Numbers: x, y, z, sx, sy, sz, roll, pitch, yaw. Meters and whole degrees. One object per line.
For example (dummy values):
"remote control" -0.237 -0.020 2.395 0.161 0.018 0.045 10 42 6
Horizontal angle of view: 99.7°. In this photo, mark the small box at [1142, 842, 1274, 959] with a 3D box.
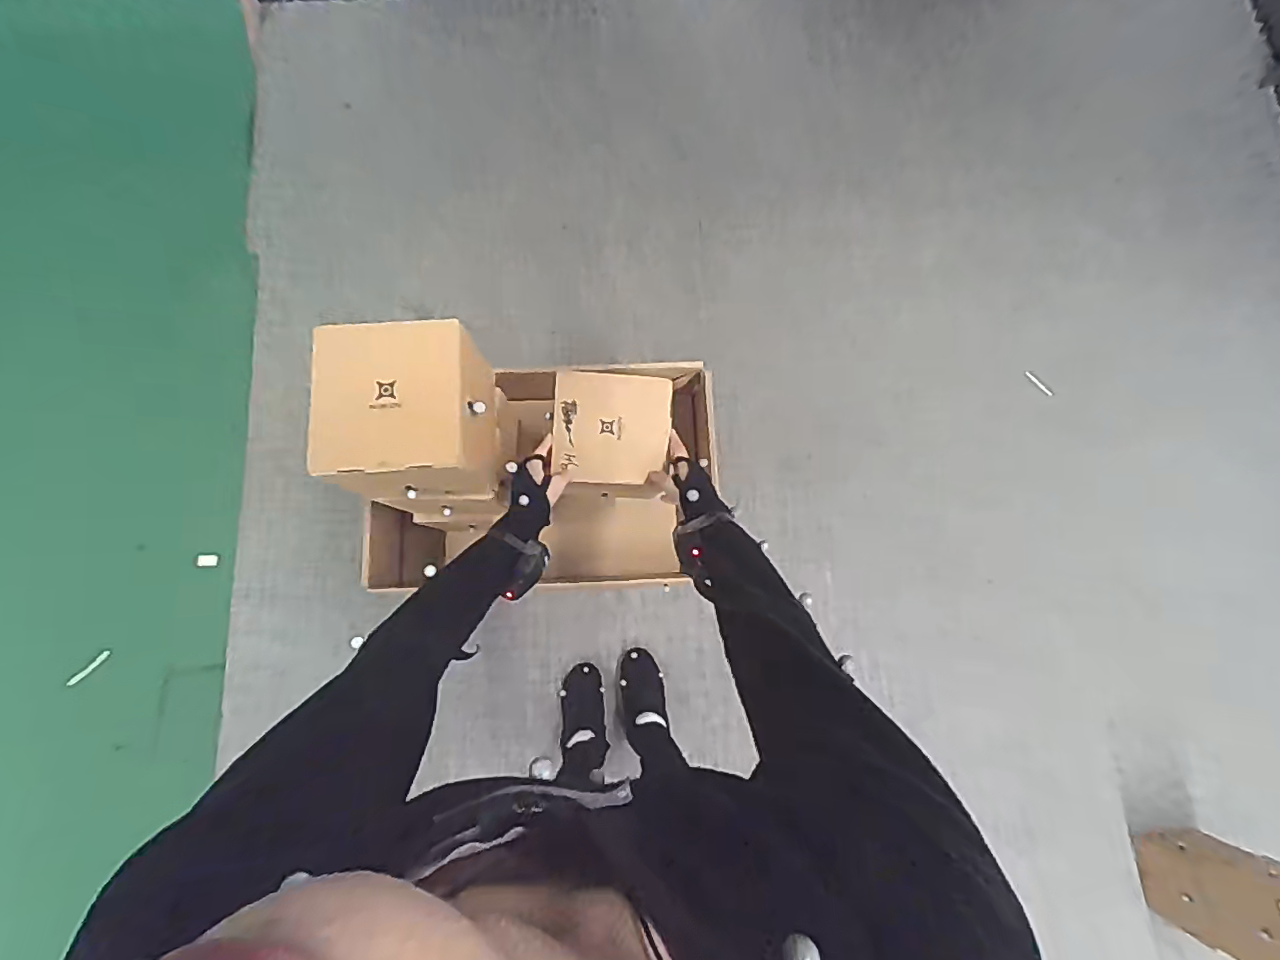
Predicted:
"small box" 1.330 0.971 1.256 0.168 0.176 0.179 -4 79 -2

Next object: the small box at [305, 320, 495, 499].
"small box" -0.283 -0.079 0.674 0.168 0.176 0.179 -3 79 -2

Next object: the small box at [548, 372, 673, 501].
"small box" -0.051 -0.059 0.863 0.179 0.176 0.168 4 80 -7
